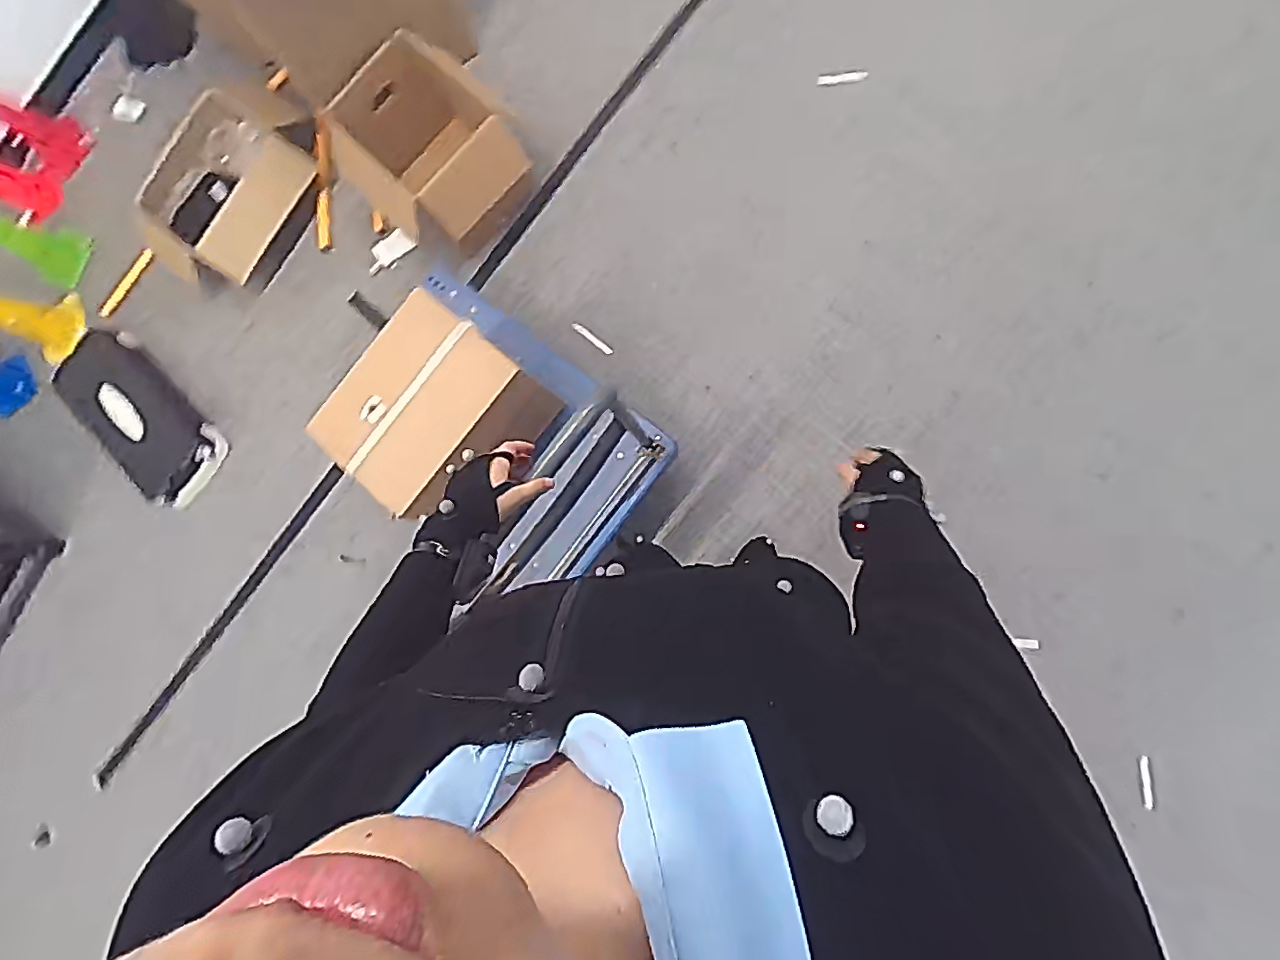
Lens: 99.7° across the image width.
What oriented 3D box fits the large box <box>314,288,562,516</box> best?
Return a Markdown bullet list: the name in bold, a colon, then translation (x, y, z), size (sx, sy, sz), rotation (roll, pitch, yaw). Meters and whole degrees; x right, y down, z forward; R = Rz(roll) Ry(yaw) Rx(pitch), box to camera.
- **large box**: translation (-0.457, -0.162, 1.297), size (0.320, 0.320, 0.408), rotation (39, 93, 12)
